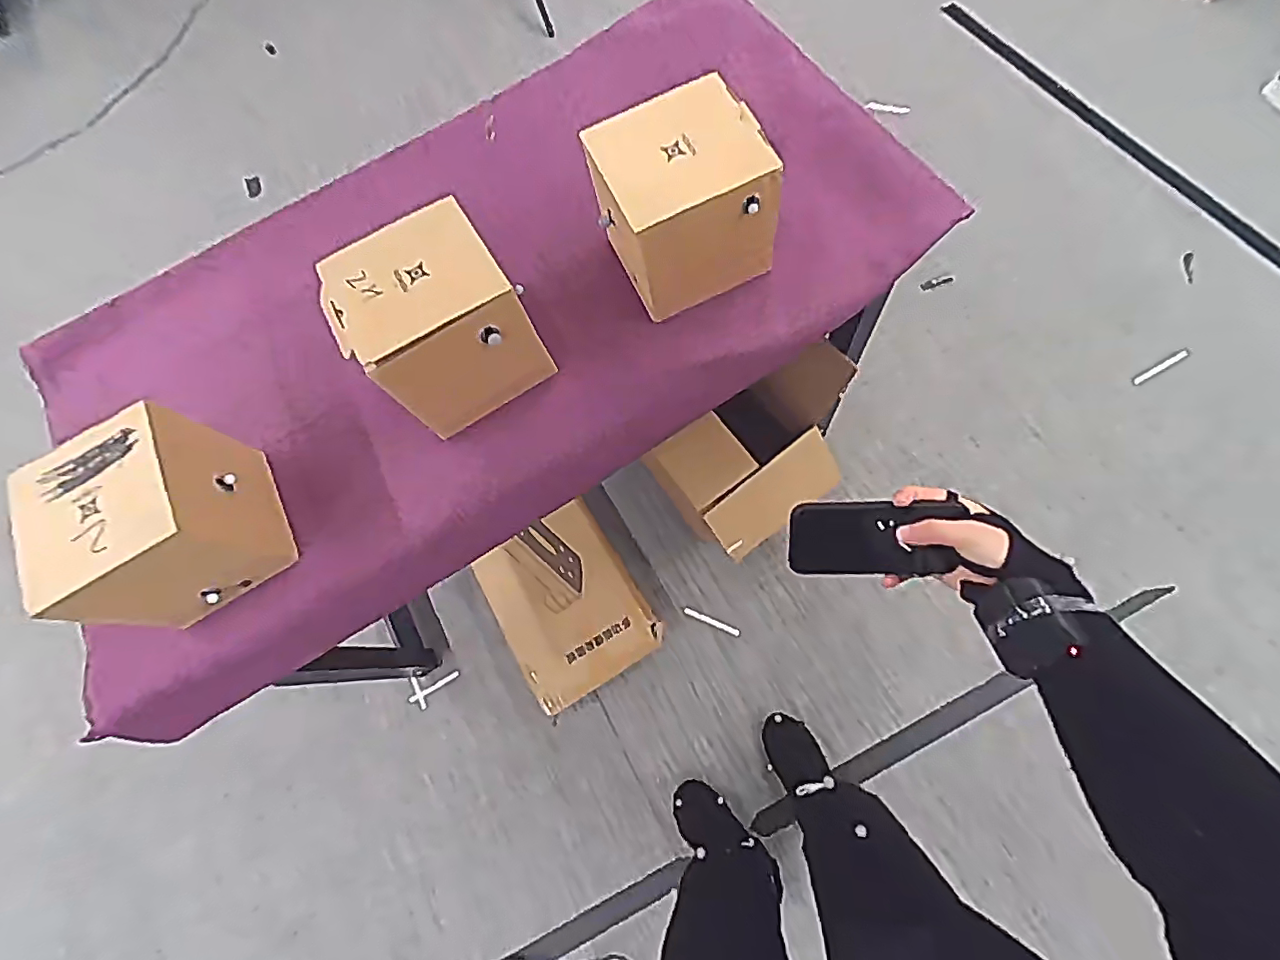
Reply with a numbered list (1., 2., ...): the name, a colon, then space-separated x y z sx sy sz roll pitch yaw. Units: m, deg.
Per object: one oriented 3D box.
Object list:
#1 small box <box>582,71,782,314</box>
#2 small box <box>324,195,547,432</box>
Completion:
1. small box: 0.053 -0.338 0.664 0.179 0.176 0.168 -25 70 -1
2. small box: -0.229 -0.190 0.654 0.179 0.176 0.168 -32 68 -3
